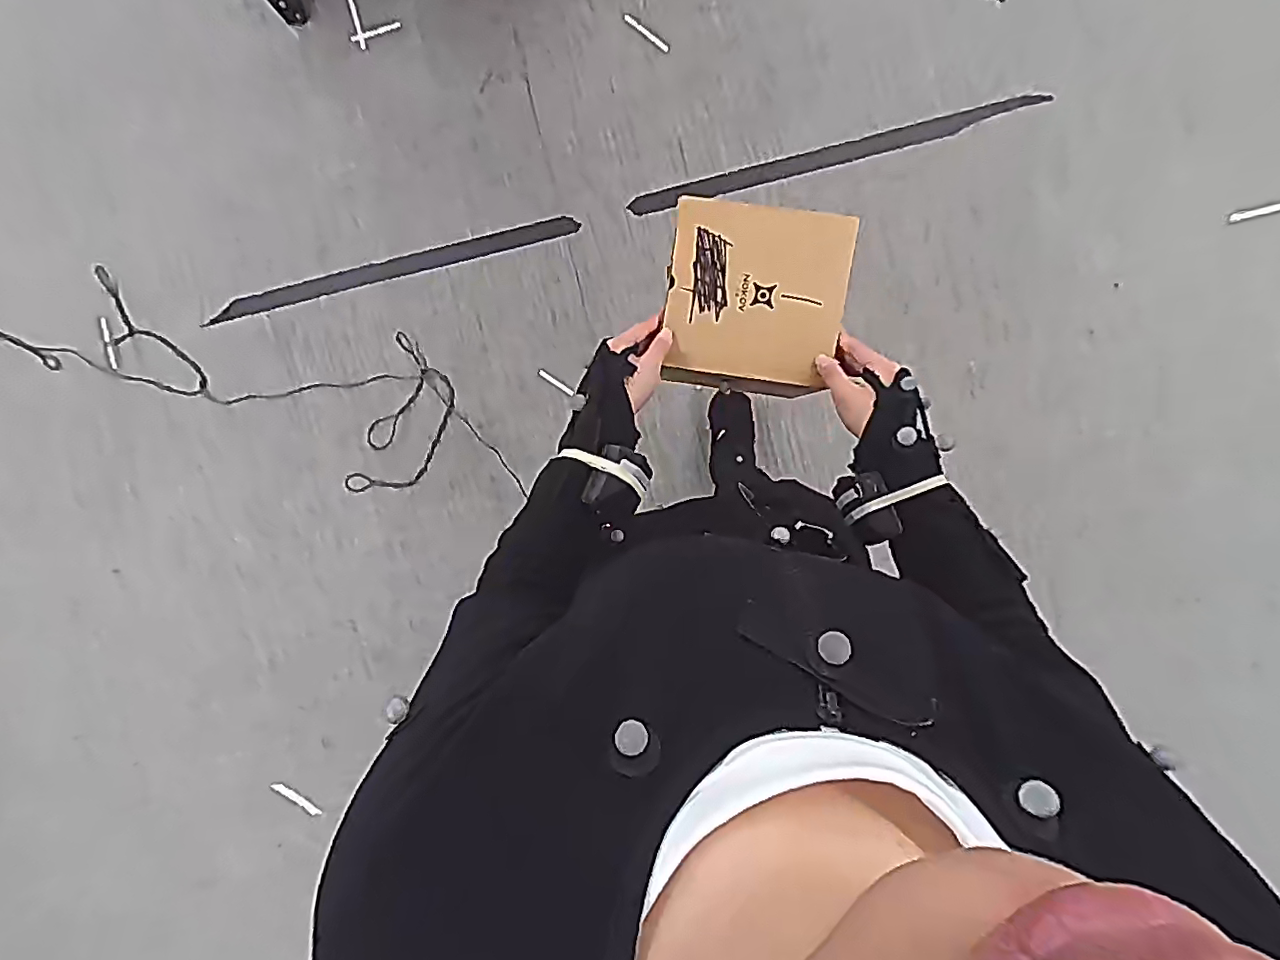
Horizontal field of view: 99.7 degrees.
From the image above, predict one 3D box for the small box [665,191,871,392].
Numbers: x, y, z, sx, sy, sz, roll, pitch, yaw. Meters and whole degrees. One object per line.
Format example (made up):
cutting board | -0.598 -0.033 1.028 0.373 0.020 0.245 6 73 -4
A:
small box | 0.128 -0.195 0.605 0.179 0.176 0.168 9 96 3
